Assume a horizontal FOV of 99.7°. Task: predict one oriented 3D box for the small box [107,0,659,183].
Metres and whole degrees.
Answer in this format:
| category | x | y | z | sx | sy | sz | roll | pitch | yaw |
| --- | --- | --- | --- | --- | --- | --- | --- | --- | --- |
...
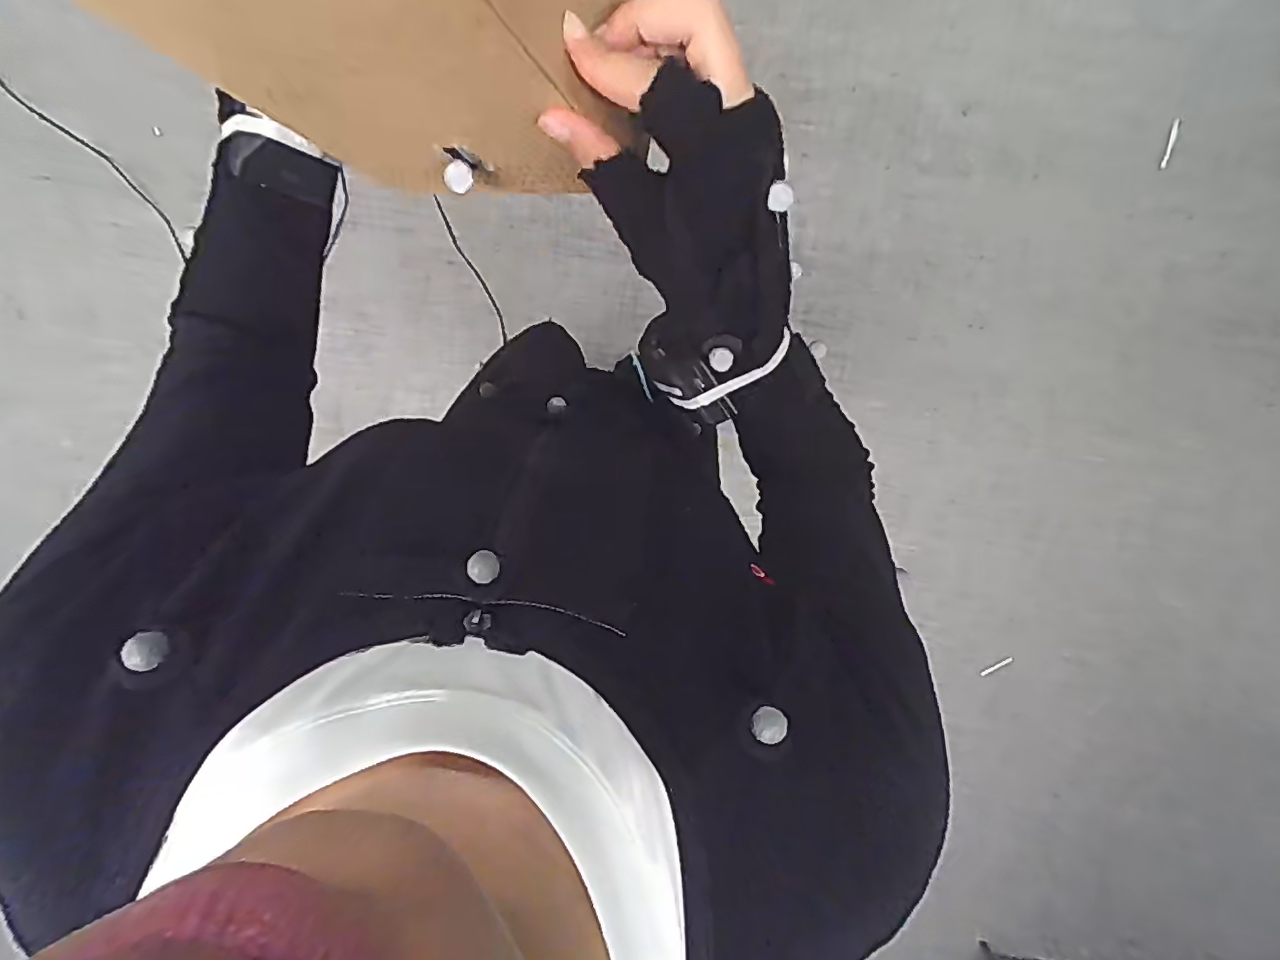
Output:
| category | x | y | z | sx | sy | sz | roll | pitch | yaw |
| --- | --- | --- | --- | --- | --- | --- | --- | --- | --- |
| small box | -0.093 | -0.254 | 0.241 | 0.179 | 0.176 | 0.168 | 12 | 96 | 21 |
